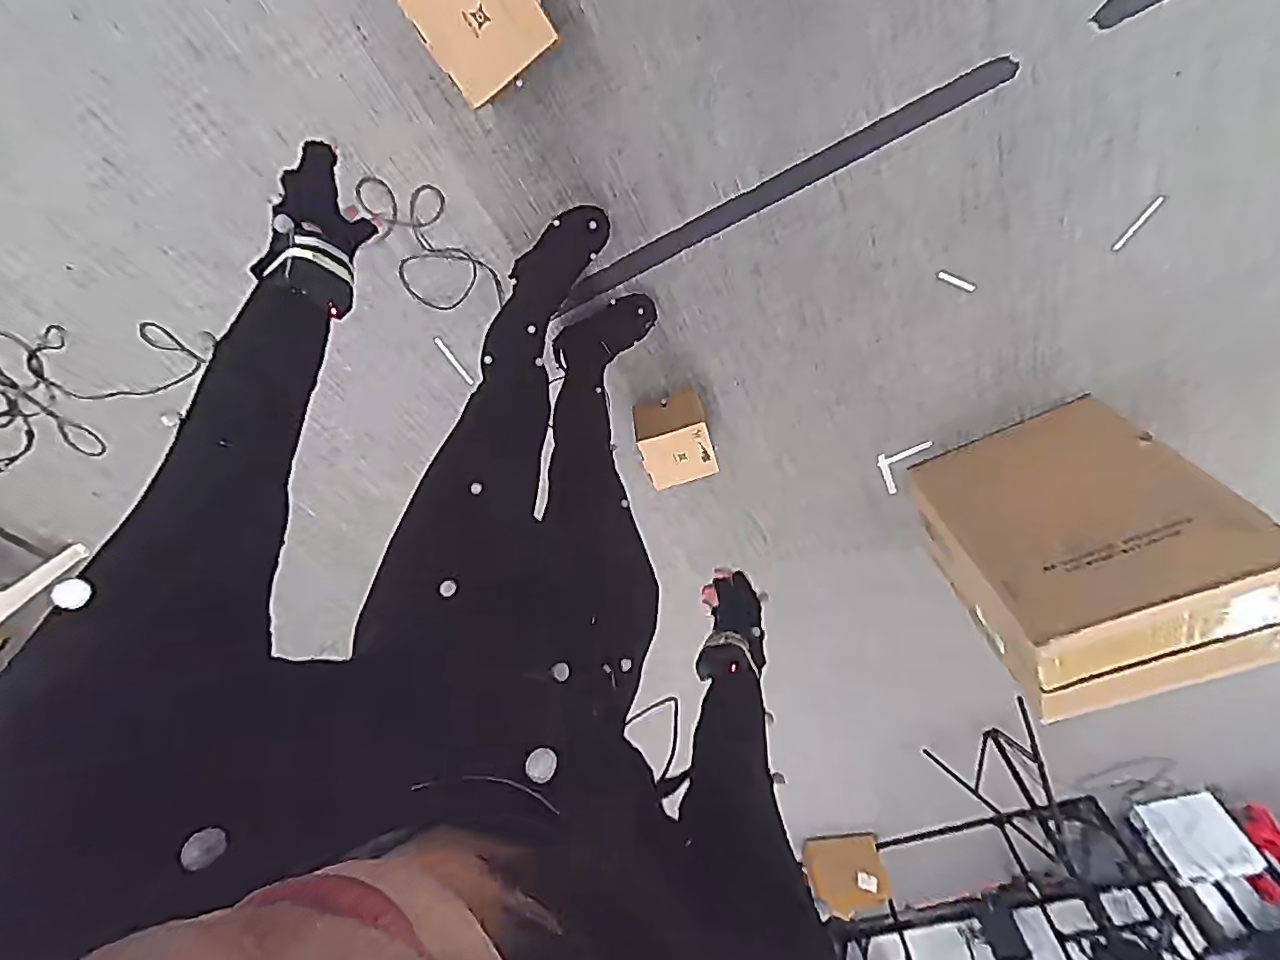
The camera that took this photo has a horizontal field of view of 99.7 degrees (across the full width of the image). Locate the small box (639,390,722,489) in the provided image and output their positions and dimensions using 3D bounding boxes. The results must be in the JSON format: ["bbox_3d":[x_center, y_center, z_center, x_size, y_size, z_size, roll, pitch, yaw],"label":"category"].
[{"bbox_3d":[0.101,-0.108,1.404,0.179,0.176,0.168,-16,128,9],"label":"small box"}]

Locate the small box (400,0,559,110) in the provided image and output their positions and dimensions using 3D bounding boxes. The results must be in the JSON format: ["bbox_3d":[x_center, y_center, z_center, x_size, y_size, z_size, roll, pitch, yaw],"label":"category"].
[{"bbox_3d":[-0.244,-0.739,0.872,0.179,0.176,0.168,-30,126,17],"label":"small box"}]
